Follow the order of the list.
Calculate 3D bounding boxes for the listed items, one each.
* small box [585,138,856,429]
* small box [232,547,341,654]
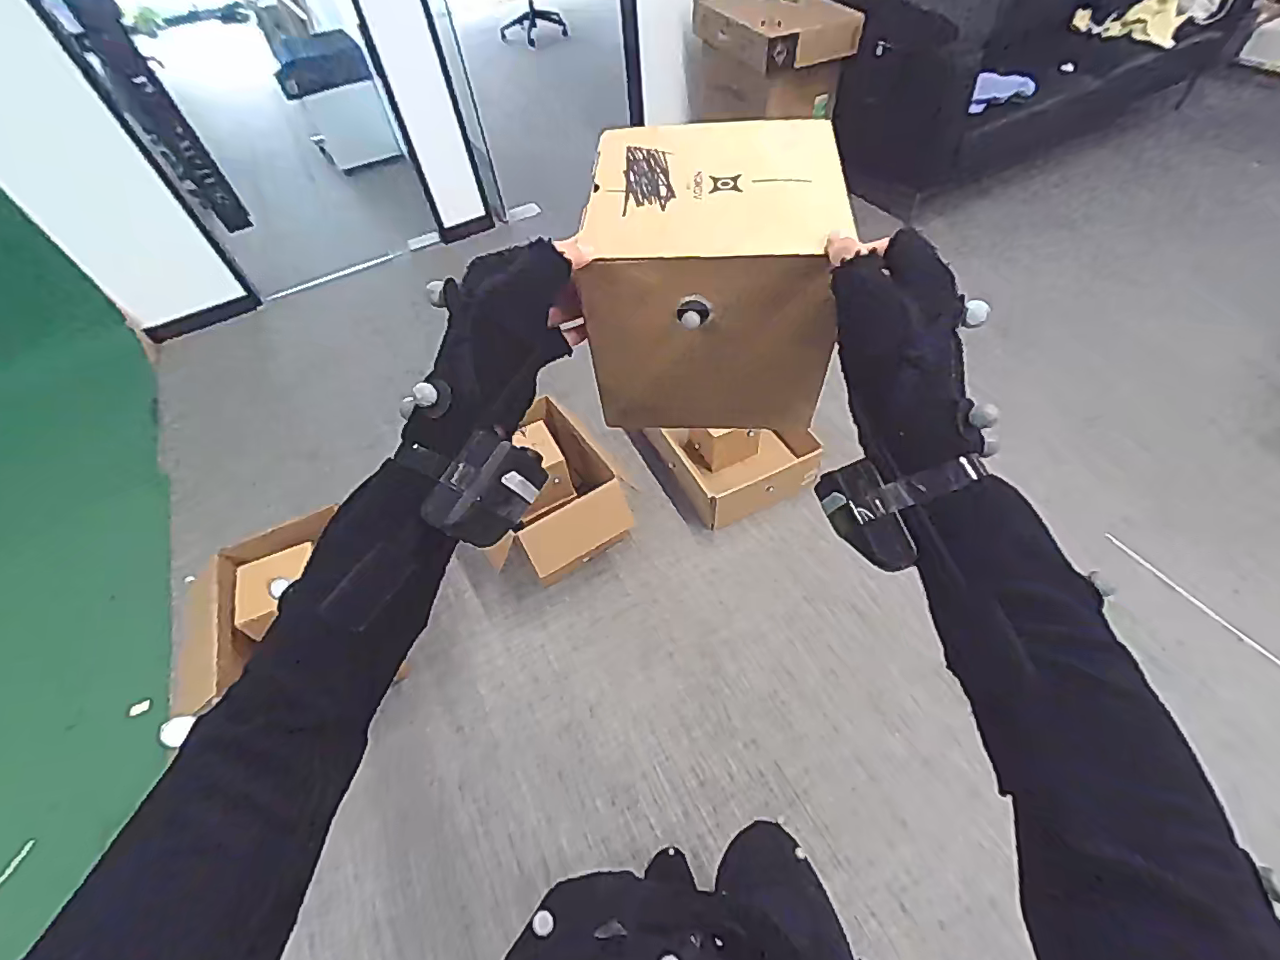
[{"bbox_3d":[0.062,-0.157,0.454,0.179,0.176,0.168,2,56,5],"label":"small box"},{"bbox_3d":[-0.863,0.301,1.337,0.179,0.176,0.168,-21,53,-13],"label":"small box"}]
